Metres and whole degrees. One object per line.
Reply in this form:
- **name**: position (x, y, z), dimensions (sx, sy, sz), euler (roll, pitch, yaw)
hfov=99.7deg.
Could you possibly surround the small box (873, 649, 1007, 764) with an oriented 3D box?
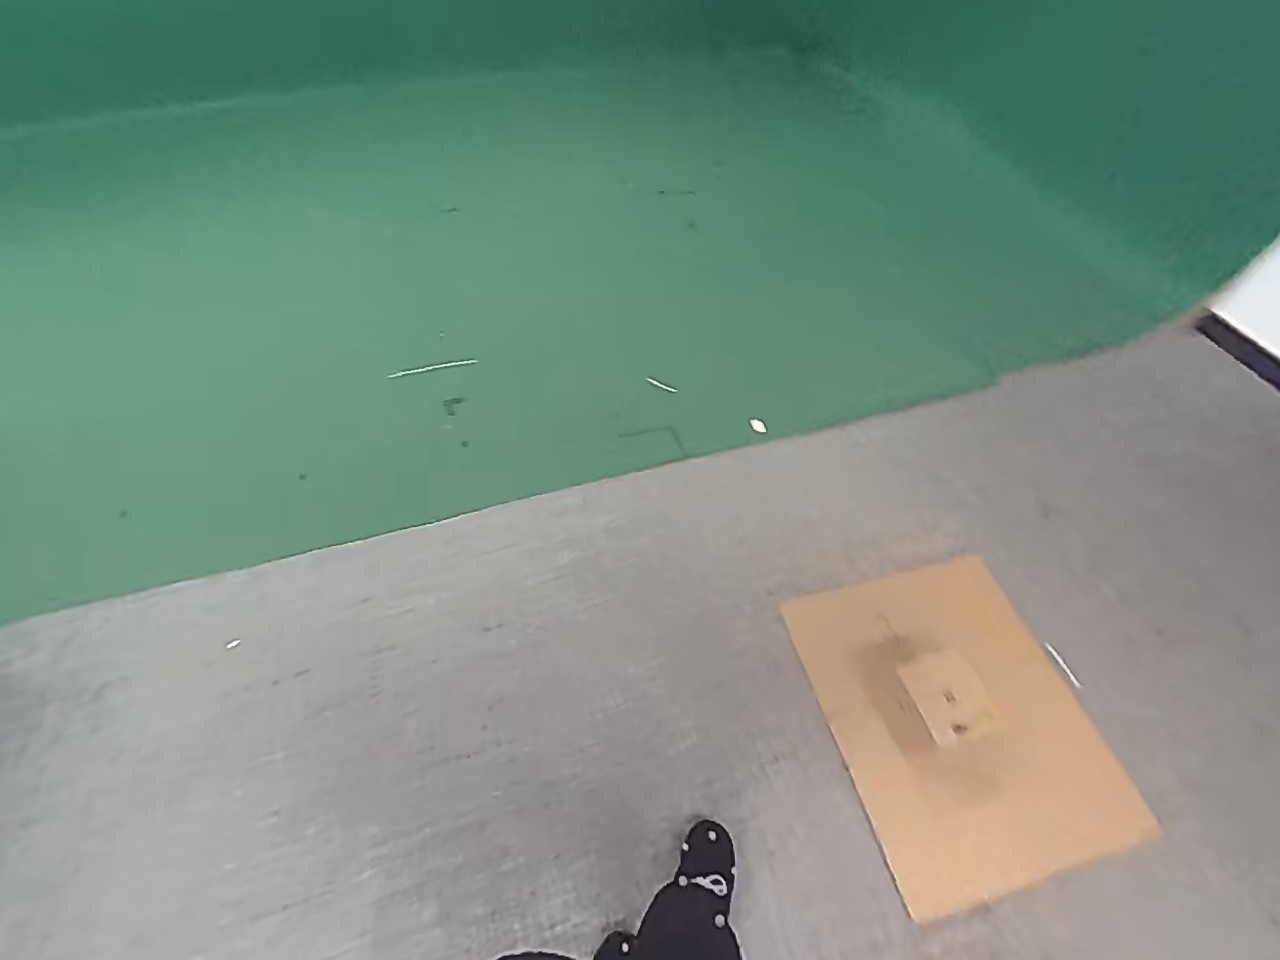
- **small box**: position (0.666, 0.516, 1.228), dimensions (0.168, 0.176, 0.179), euler (-15, 55, -12)
